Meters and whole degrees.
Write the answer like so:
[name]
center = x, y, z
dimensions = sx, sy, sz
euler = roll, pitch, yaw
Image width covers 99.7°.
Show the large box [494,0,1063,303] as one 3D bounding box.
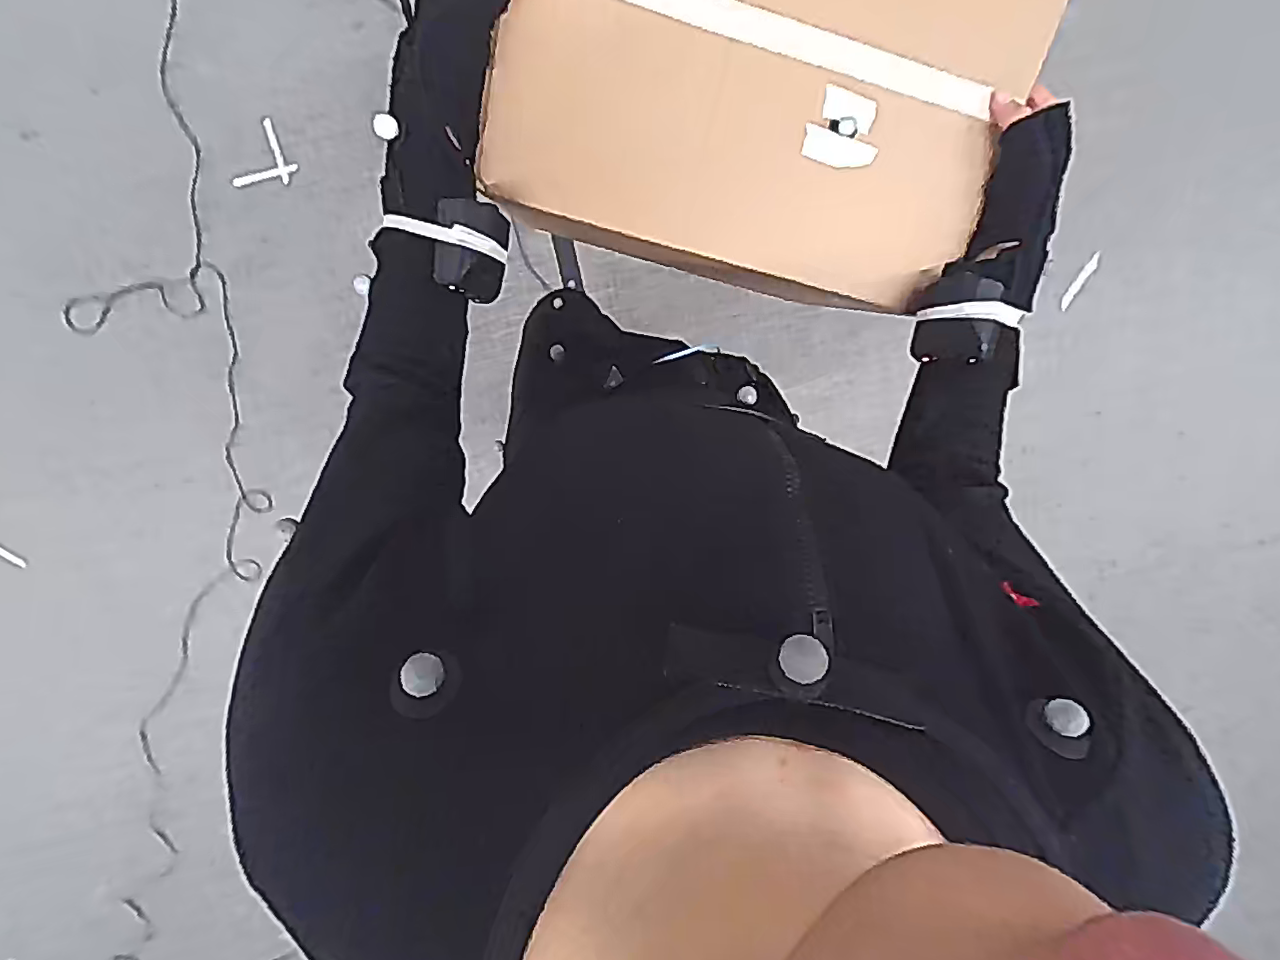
[large box]
center = 0.097, -0.388, 0.544
dimensions = 0.408, 0.320, 0.320
euler = 12, 111, -10
